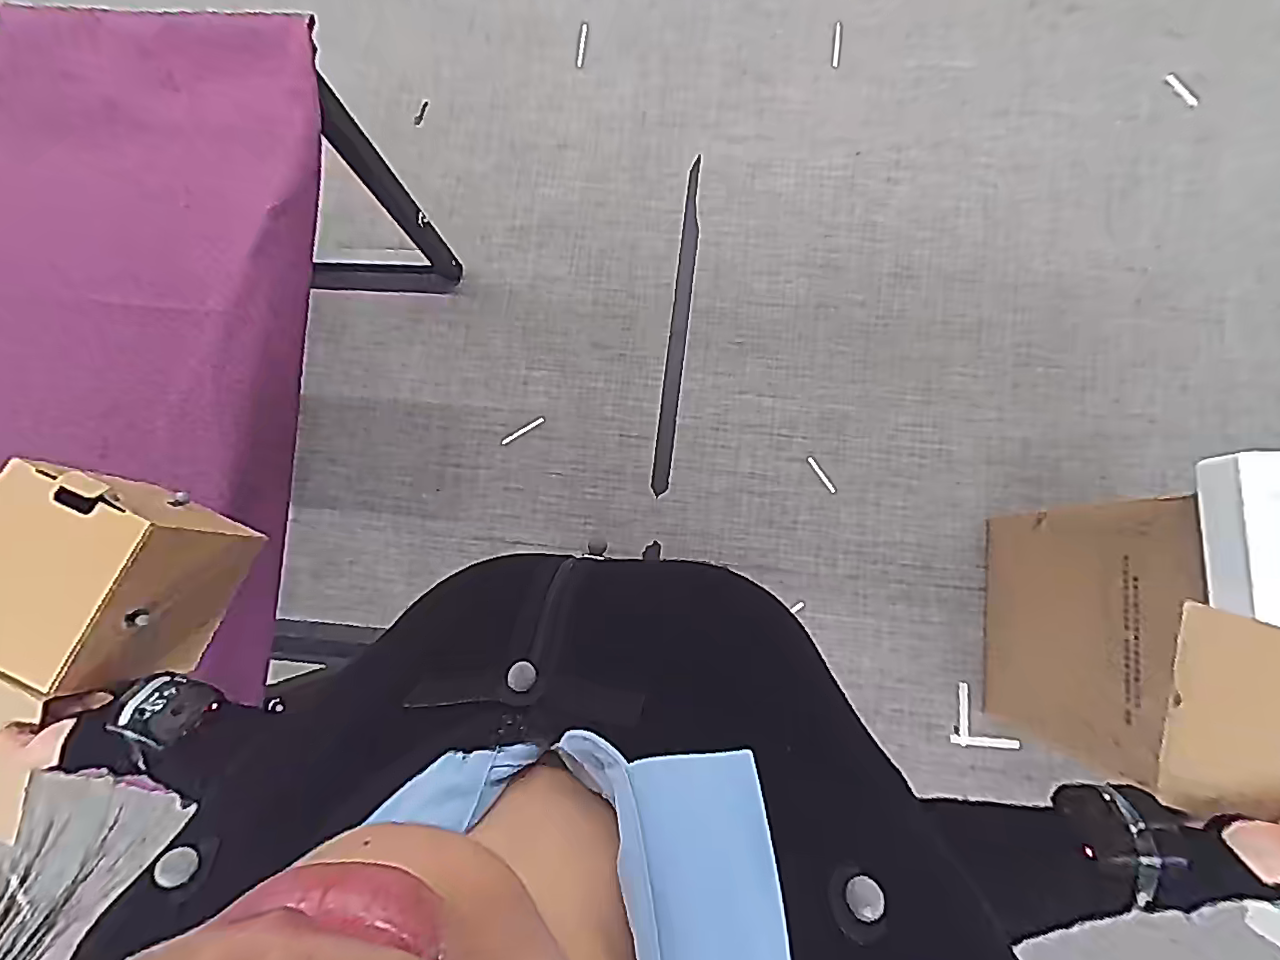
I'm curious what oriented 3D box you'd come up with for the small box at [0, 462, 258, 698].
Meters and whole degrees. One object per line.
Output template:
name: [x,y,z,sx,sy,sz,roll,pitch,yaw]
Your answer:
small box: [-0.574,0.107,0.589,0.168,0.176,0.179,23,79,4]
